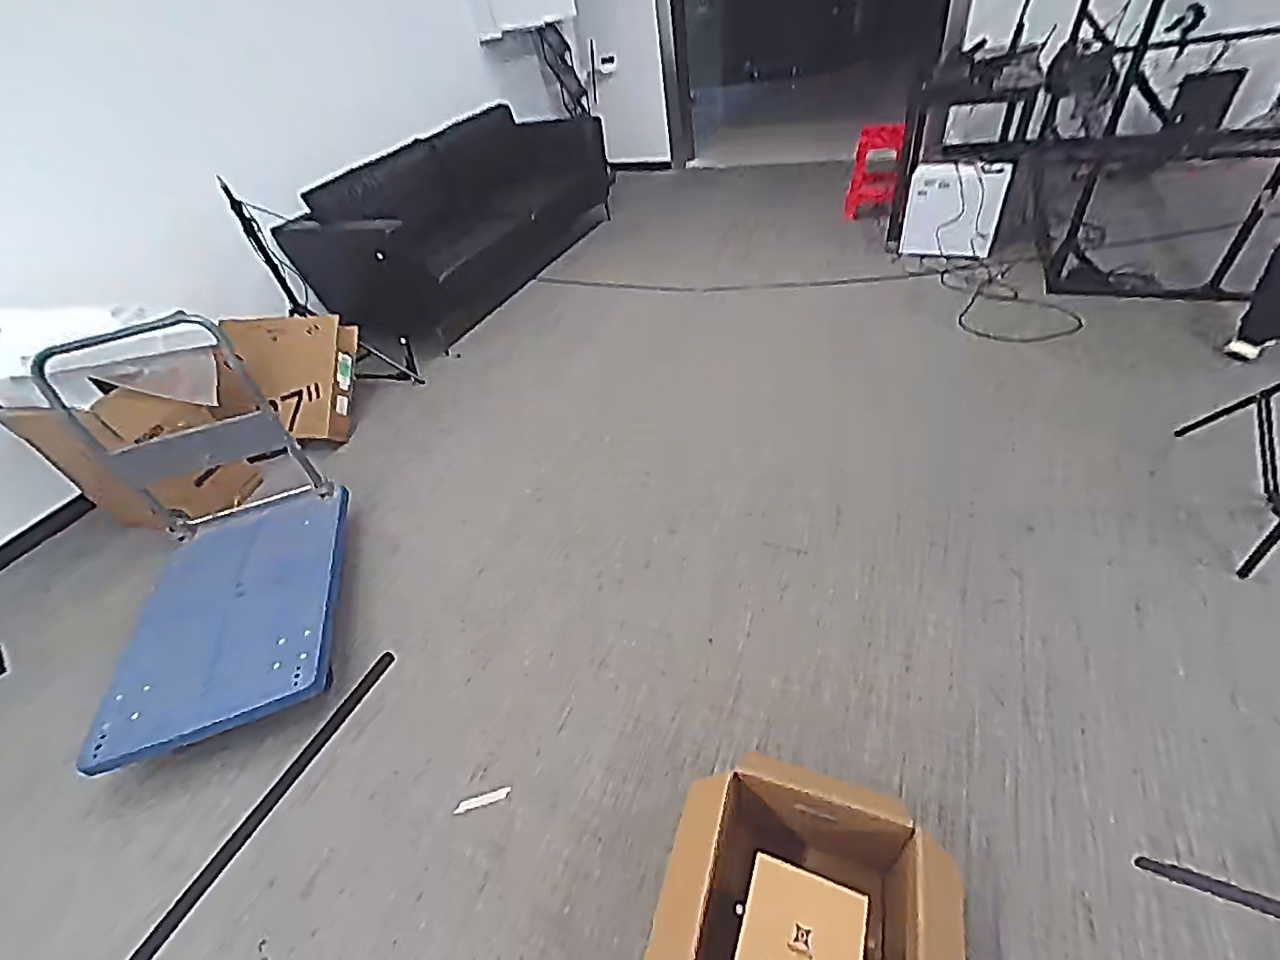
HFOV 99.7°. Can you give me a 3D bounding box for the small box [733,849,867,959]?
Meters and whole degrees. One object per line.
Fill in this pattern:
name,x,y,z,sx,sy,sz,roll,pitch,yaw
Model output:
small box,0.240,0.713,0.825,0.168,0.176,0.179,10,47,23
